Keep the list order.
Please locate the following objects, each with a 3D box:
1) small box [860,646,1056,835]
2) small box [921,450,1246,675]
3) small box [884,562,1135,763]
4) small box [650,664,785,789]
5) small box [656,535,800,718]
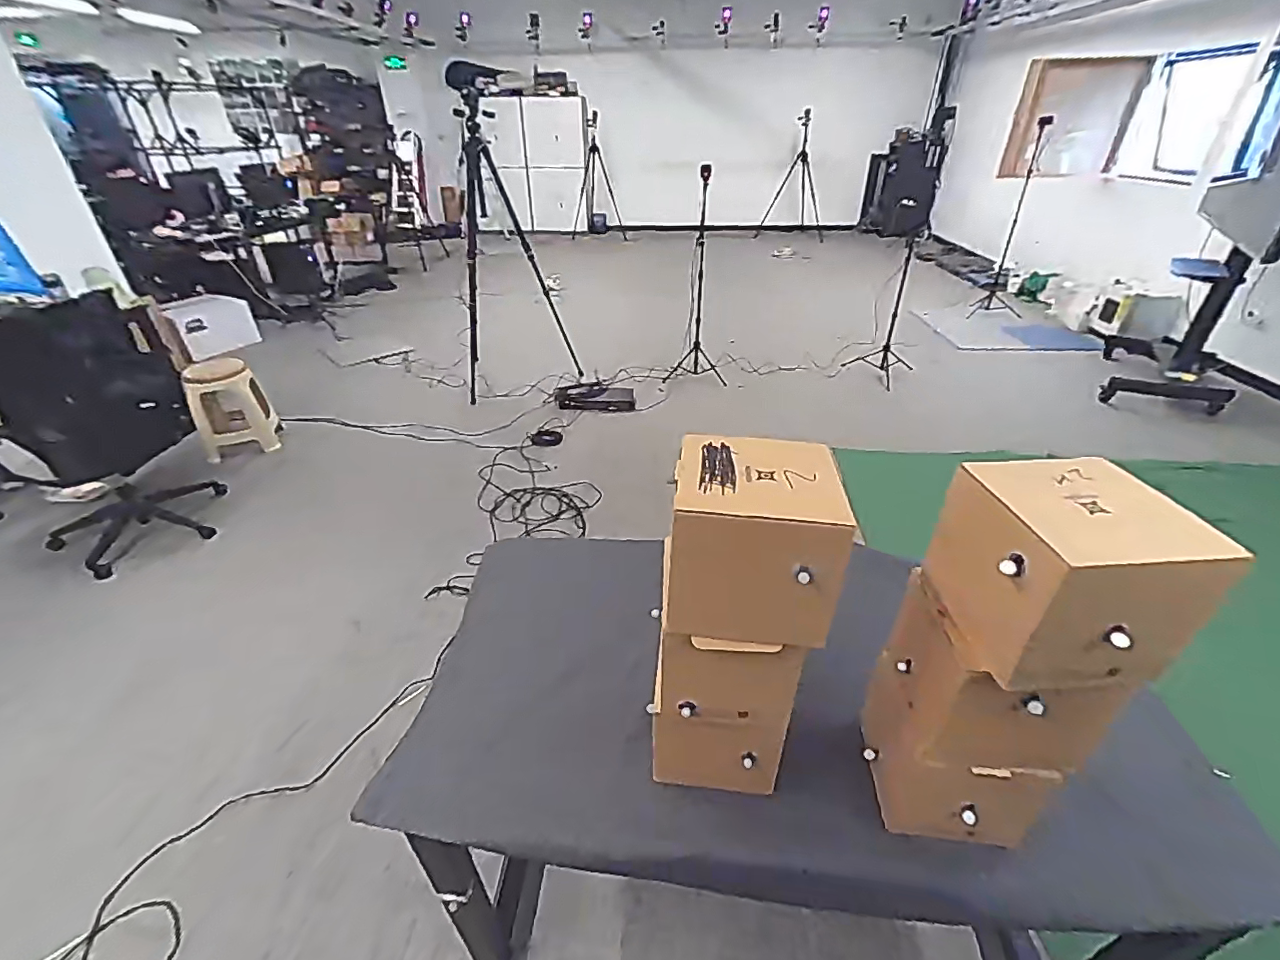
[{"bbox_3d":[0.419,0.358,0.749,0.168,0.176,0.179,2,33,7],"label":"small box"},{"bbox_3d":[0.429,0.086,0.566,0.168,0.176,0.179,-3,32,-2],"label":"small box"},{"bbox_3d":[0.426,0.221,0.662,0.179,0.176,0.168,1,32,5],"label":"small box"},{"bbox_3d":[0.110,0.332,0.805,0.179,0.176,0.168,2,32,6],"label":"small box"},{"bbox_3d":[0.107,0.192,0.719,0.168,0.176,0.179,1,31,3],"label":"small box"}]
